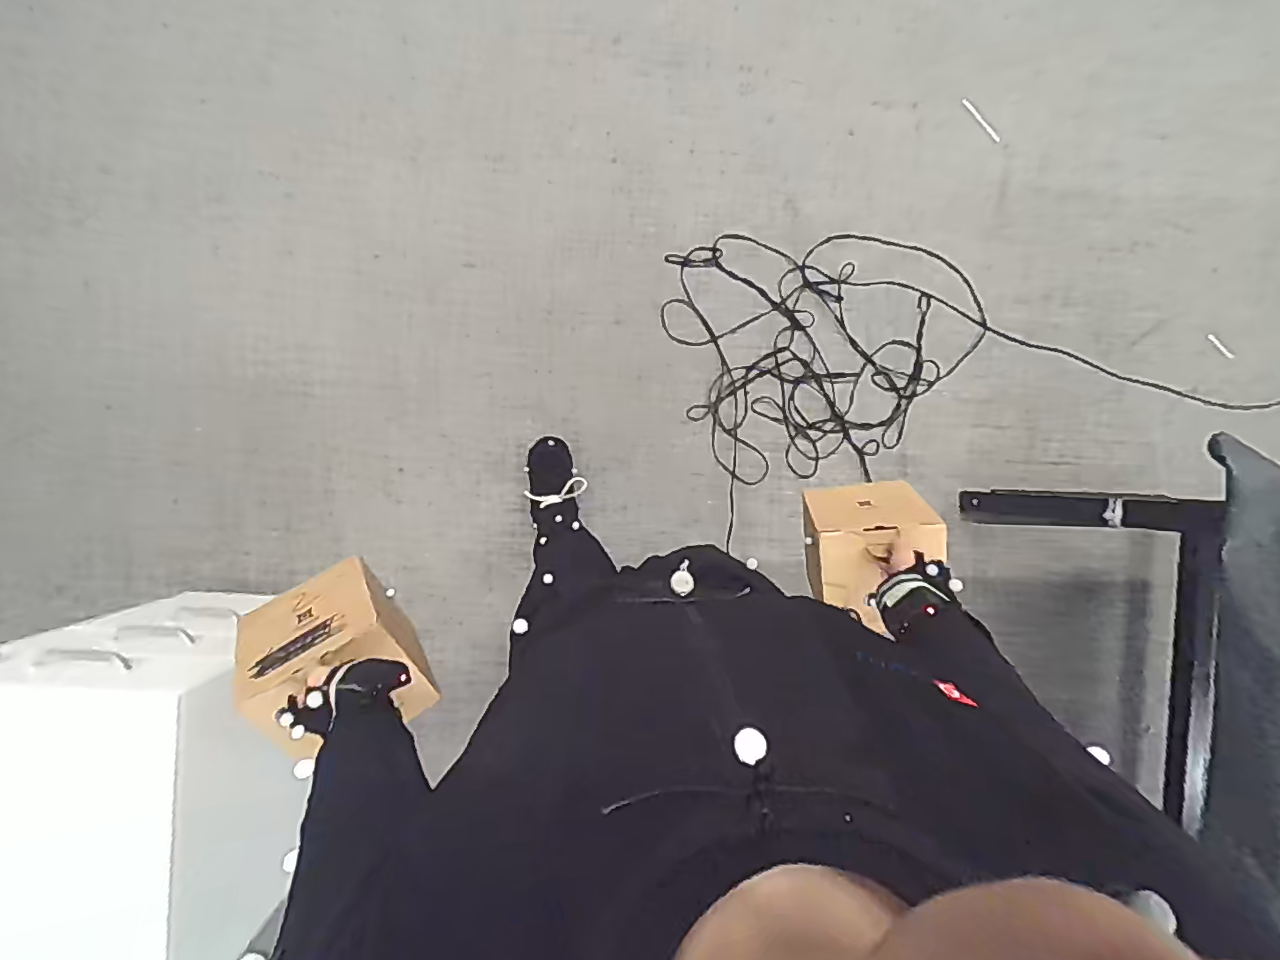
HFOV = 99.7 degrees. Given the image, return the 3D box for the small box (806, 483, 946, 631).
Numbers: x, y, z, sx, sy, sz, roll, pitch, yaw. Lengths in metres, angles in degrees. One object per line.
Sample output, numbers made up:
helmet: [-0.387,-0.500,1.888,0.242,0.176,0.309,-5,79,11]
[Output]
small box: [0.350,0.114,0.837,0.168,0.179,0.176,-4,109,11]
